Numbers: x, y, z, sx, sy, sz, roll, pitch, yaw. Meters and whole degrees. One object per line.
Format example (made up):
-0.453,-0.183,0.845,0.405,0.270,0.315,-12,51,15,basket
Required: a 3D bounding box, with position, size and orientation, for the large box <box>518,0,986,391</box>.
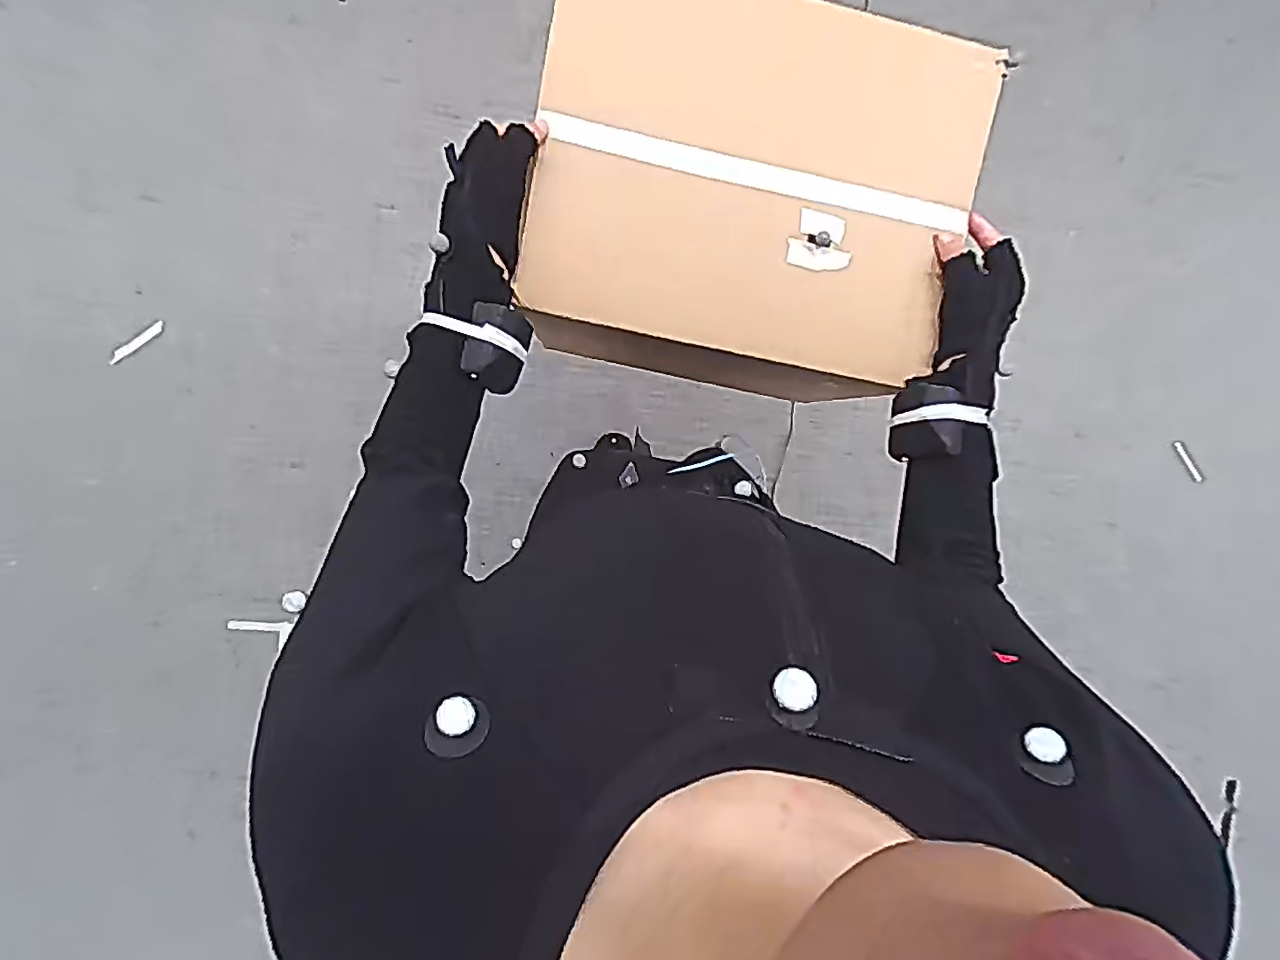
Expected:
0.093,-0.301,0.651,0.408,0.320,0.320,11,97,-6,large box
